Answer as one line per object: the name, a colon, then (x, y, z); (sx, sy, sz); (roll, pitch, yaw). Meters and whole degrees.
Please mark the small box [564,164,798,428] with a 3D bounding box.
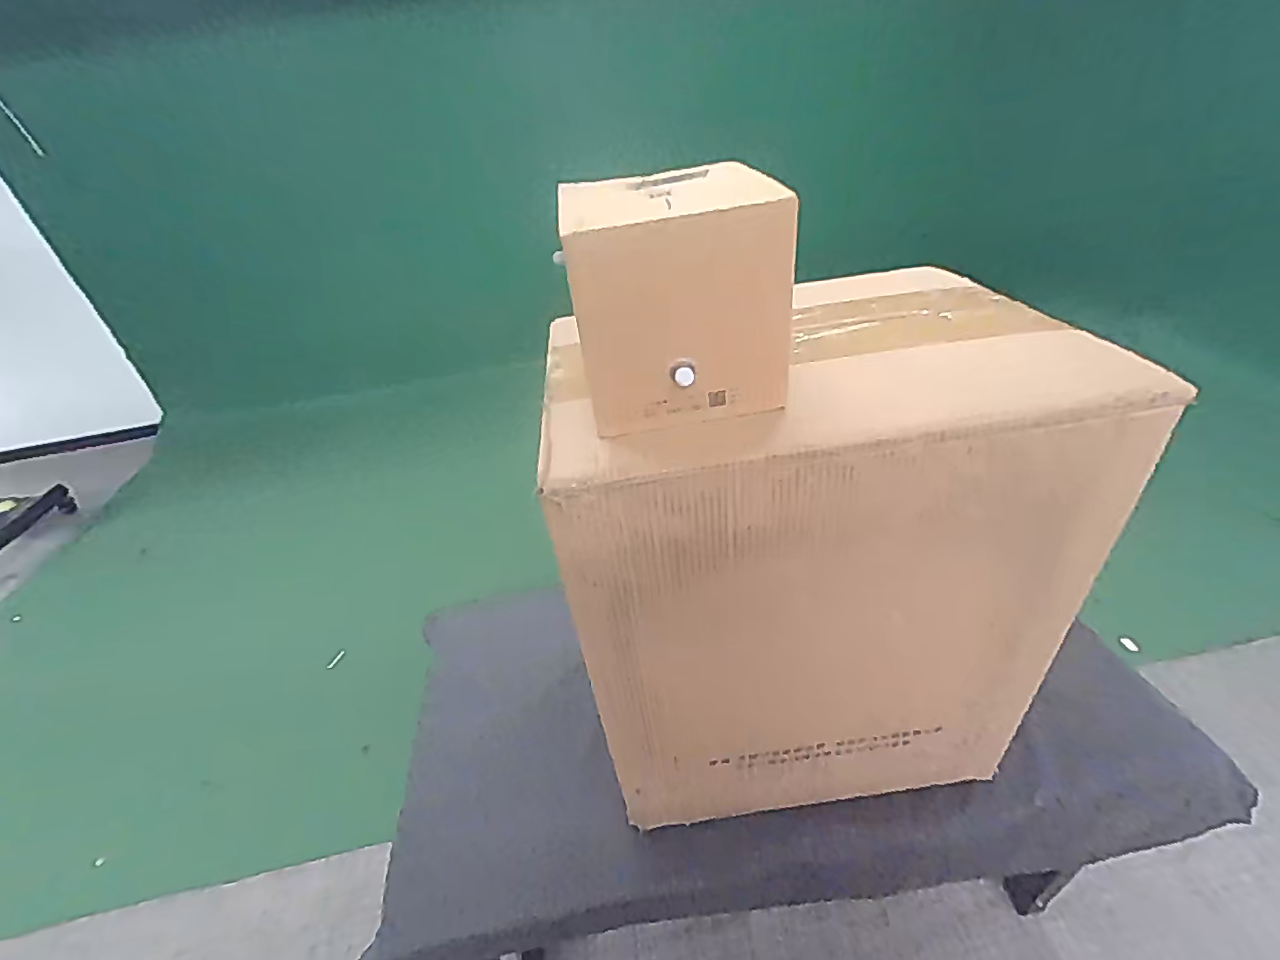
small box: (0.029, -0.168, 0.485); (0.168, 0.176, 0.179); (-9, 38, 0)
